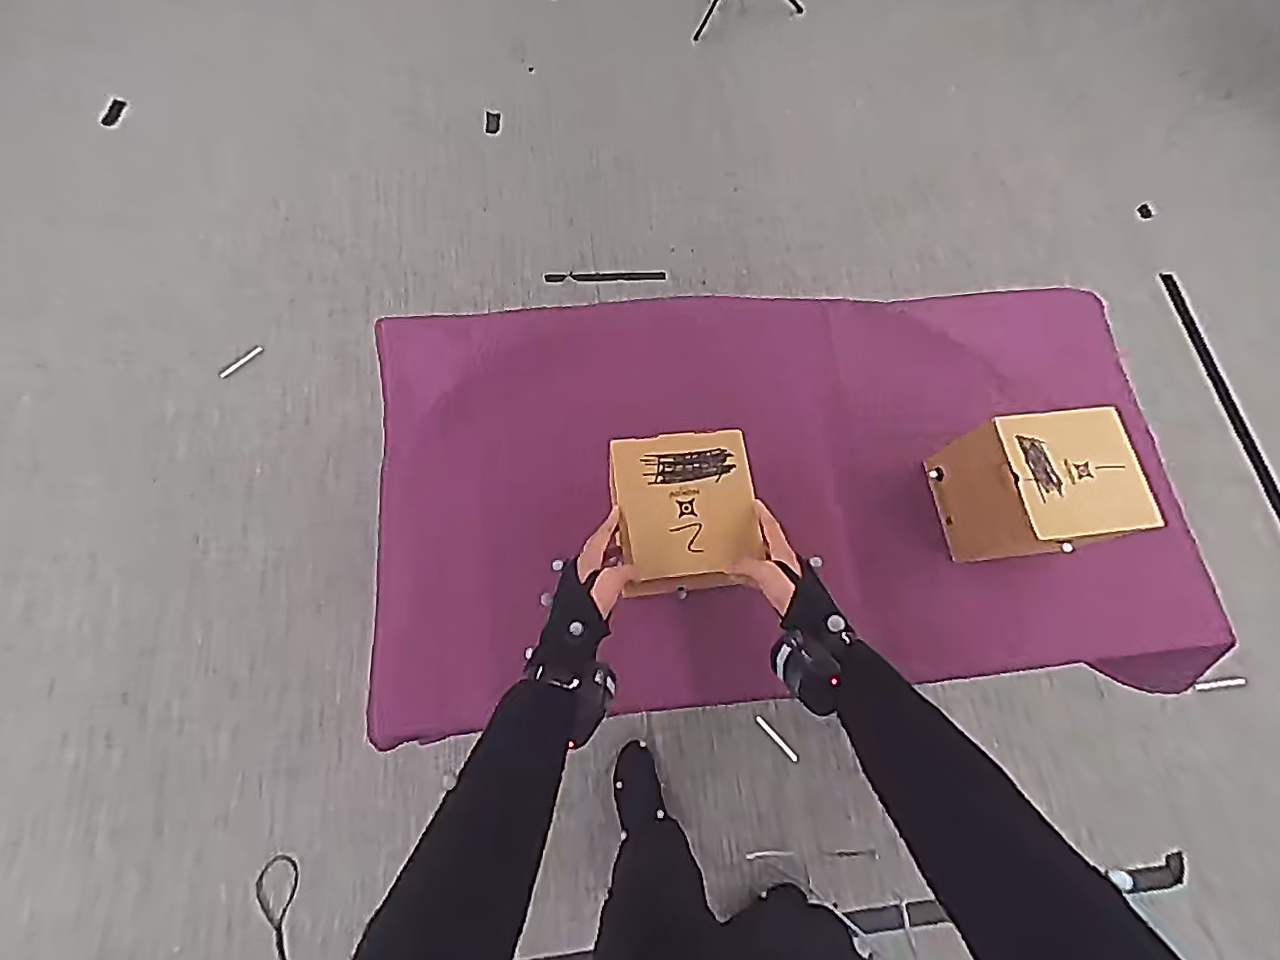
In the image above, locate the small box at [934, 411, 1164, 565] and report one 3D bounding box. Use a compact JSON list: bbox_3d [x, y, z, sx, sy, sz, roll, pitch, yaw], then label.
[{"bbox_3d":[0.544,0.019,0.755,0.179,0.176,0.168,-6,72,-5],"label":"small box"}]
